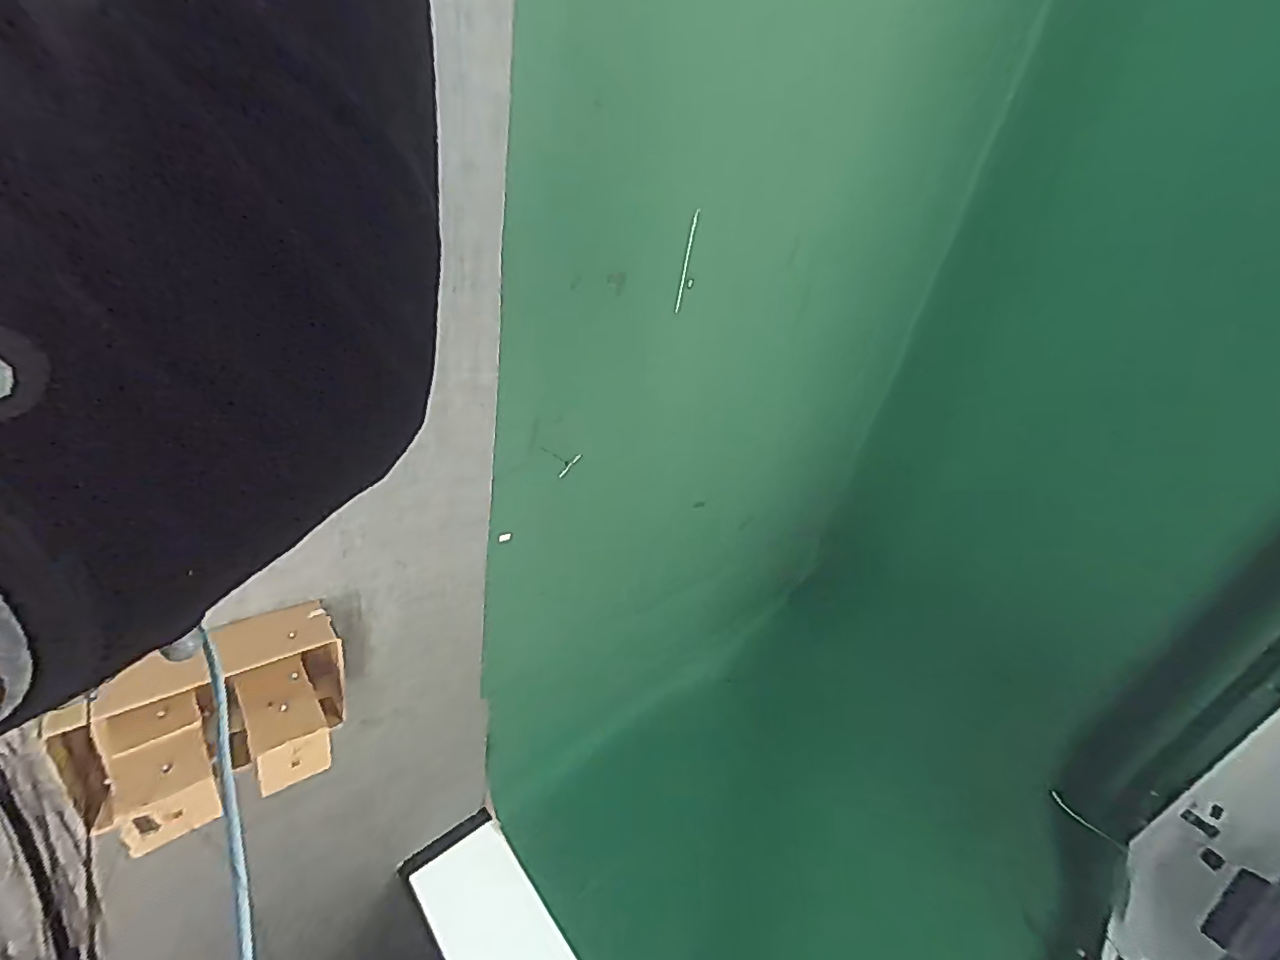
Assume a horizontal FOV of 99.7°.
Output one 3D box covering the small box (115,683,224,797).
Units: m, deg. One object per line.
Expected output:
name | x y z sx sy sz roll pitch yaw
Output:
small box | -1.236 0.674 1.425 0.179 0.176 0.168 -18 128 -41

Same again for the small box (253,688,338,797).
small box | -0.949 0.718 1.494 0.168 0.176 0.179 -12 125 -42
